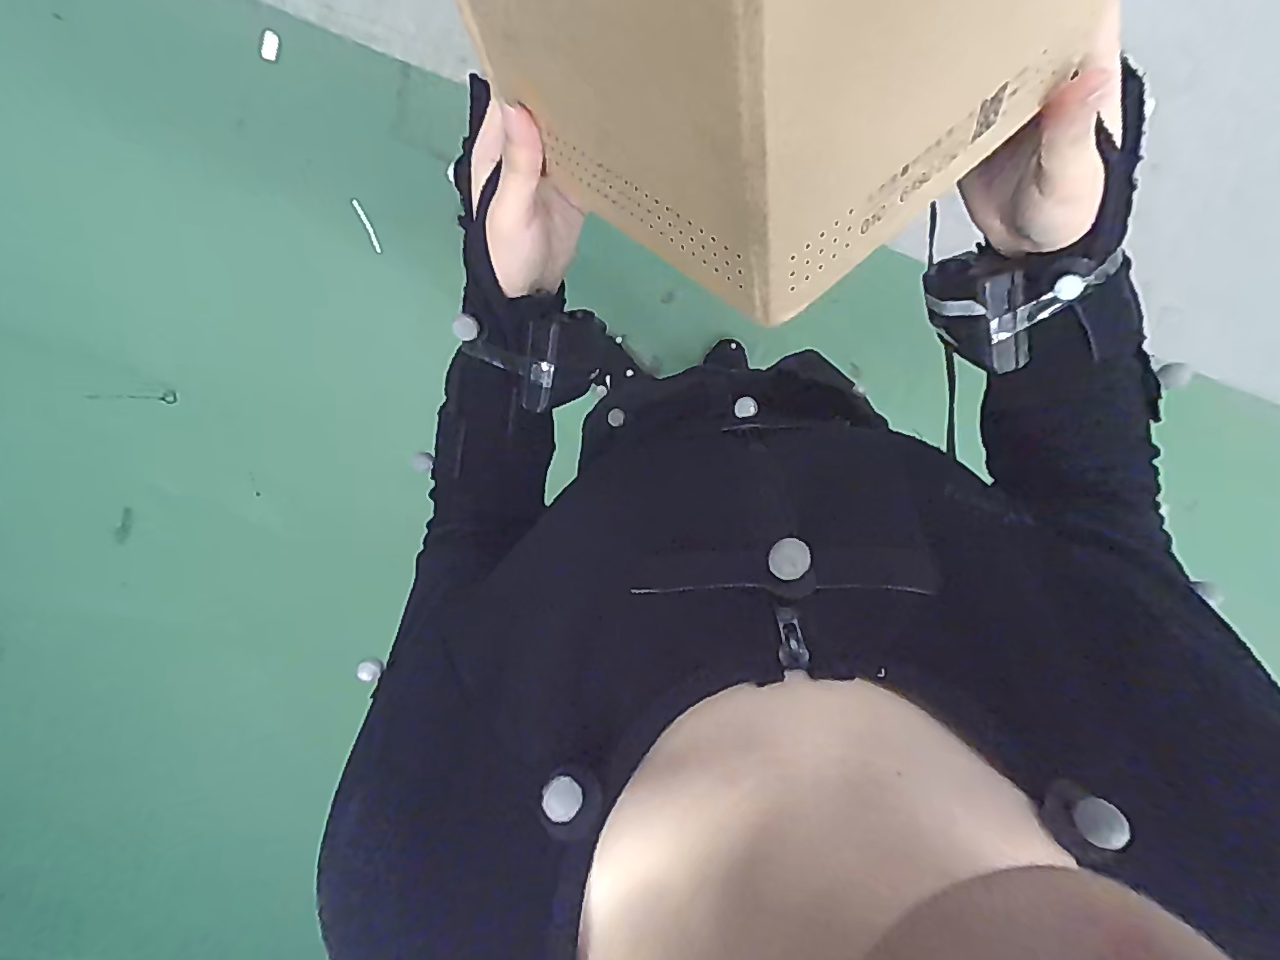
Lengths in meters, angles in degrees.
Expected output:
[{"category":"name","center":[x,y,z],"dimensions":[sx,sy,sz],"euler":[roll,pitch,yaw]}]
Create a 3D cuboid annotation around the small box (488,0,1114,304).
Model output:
[{"category":"small box","center":[0.045,-0.194,0.183],"dimensions":[0.168,0.176,0.179],"euler":[-42,60,-7]}]
